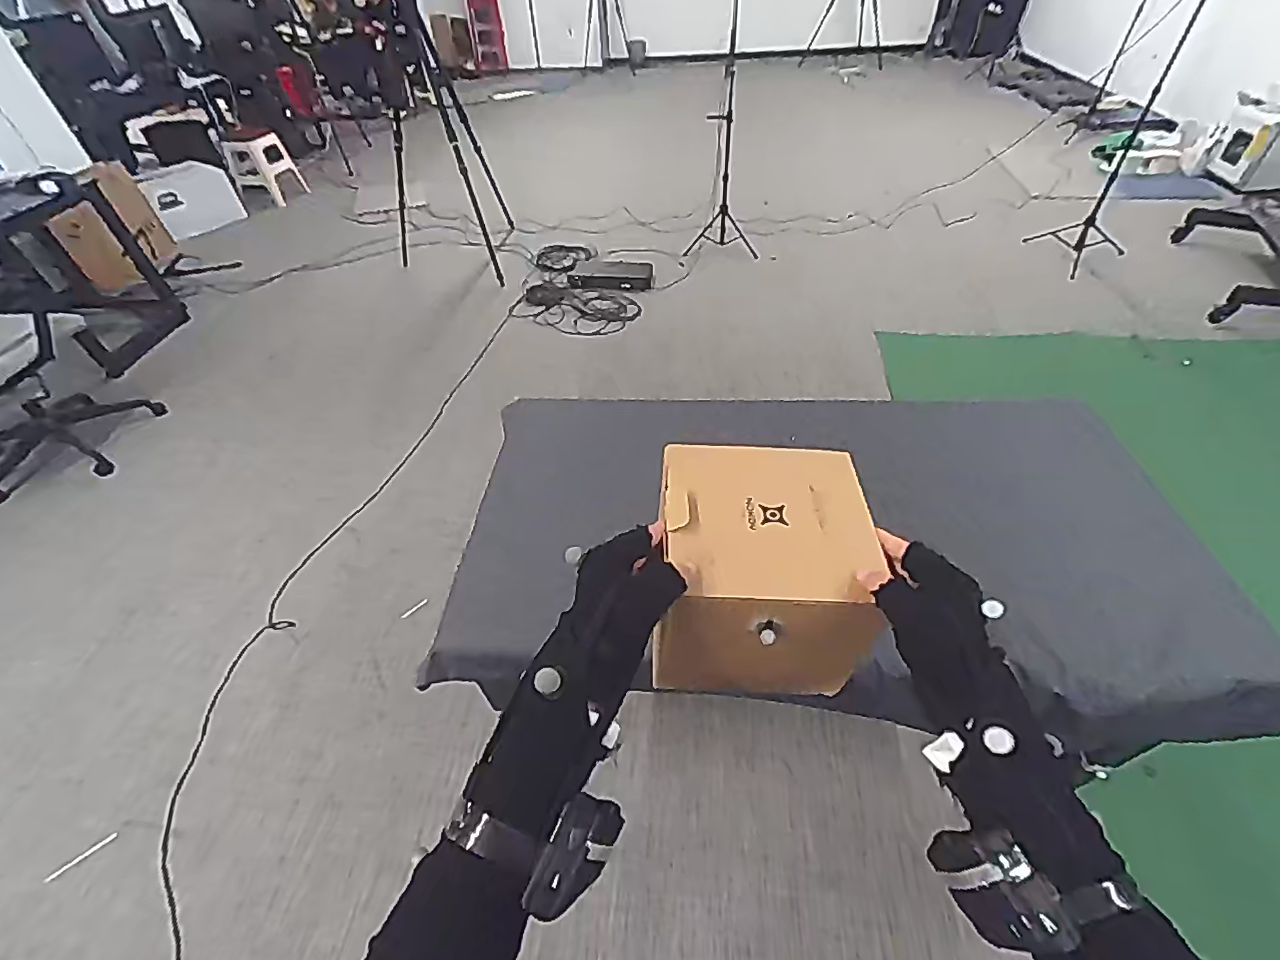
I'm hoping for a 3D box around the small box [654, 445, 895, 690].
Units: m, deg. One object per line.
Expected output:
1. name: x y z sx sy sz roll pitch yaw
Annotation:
1. small box: 0.104 0.086 0.513 0.179 0.176 0.168 3 47 -1
